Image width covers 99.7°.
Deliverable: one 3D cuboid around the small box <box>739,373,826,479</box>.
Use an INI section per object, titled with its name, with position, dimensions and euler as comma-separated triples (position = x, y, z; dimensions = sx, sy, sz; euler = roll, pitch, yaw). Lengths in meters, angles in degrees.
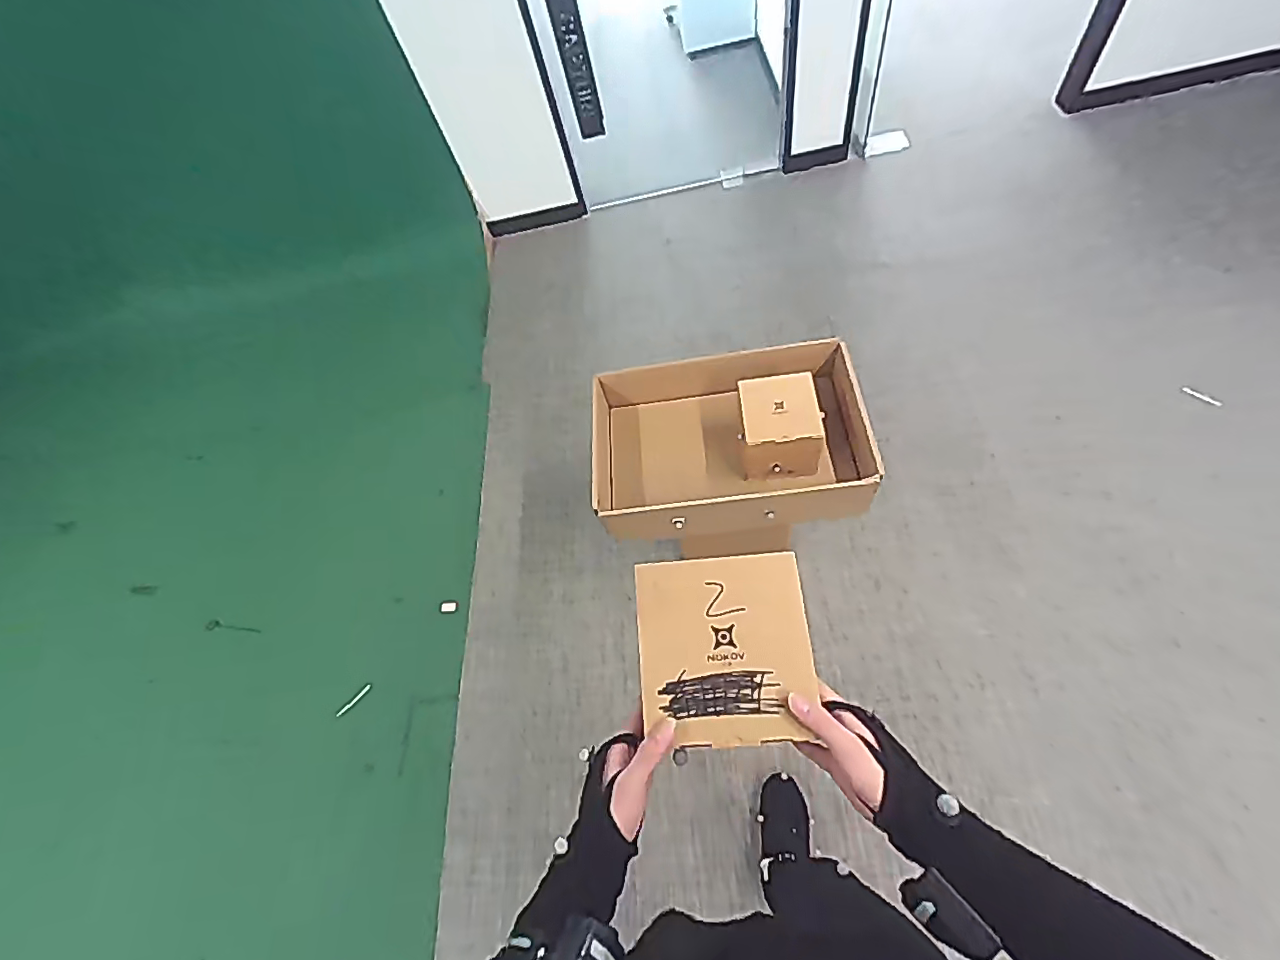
[small box]
position = 0.320, -0.122, 1.252
dimensions = 0.168, 0.176, 0.179
euler = -6, 61, 7
